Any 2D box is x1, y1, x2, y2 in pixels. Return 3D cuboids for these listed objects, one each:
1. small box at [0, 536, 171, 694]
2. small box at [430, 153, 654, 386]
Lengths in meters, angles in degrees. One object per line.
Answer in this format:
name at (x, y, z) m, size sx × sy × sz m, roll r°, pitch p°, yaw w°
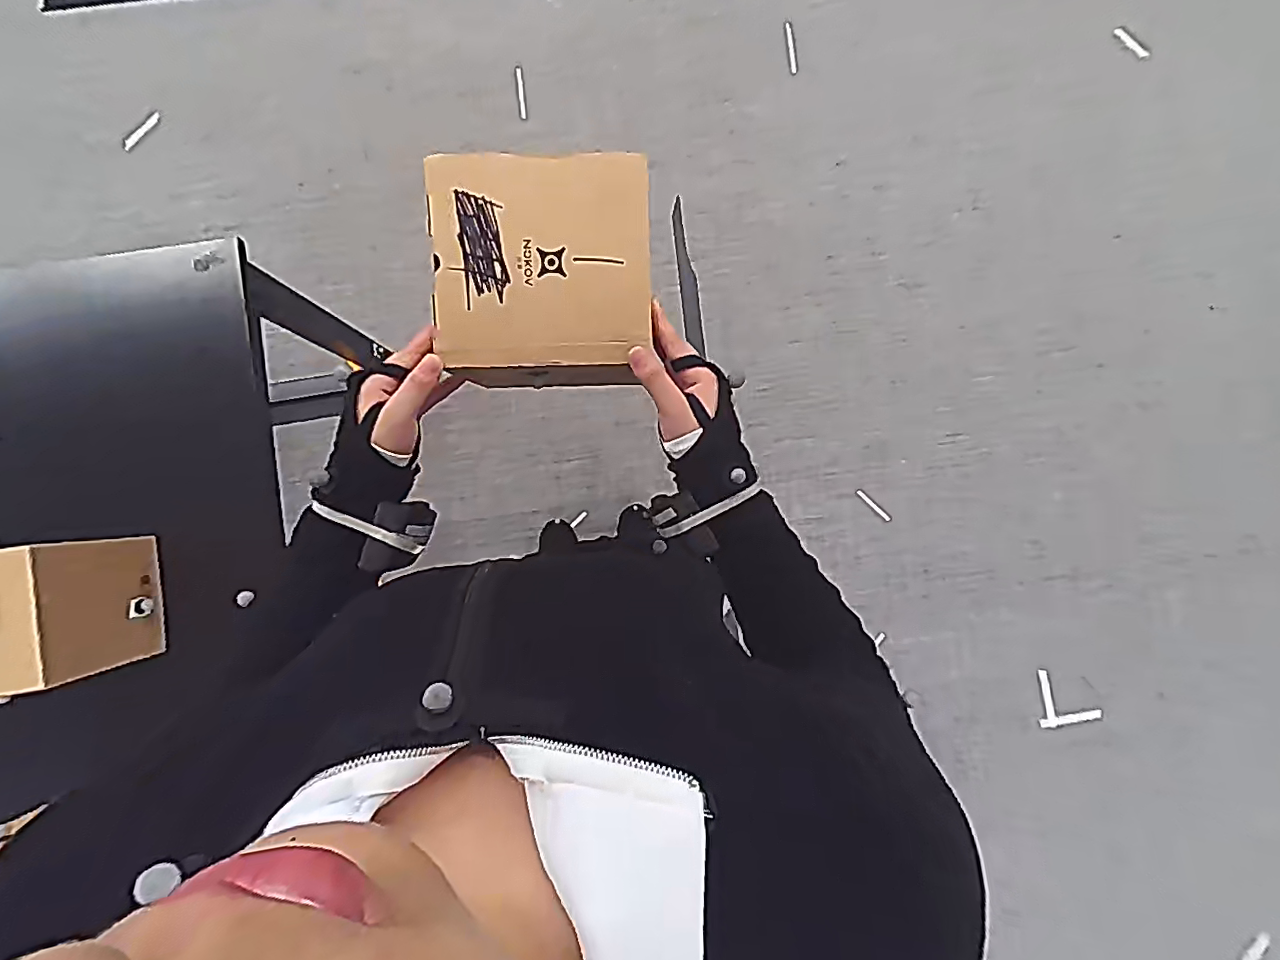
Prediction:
small box at (-0.760, 0.168, 0.687) m, size 0.179 × 0.176 × 0.168 m, roll -9°, pitch 89°, yaw -2°
small box at (-0.079, -0.179, 0.508) m, size 0.179 × 0.176 × 0.168 m, roll -2°, pitch 95°, yaw -3°
